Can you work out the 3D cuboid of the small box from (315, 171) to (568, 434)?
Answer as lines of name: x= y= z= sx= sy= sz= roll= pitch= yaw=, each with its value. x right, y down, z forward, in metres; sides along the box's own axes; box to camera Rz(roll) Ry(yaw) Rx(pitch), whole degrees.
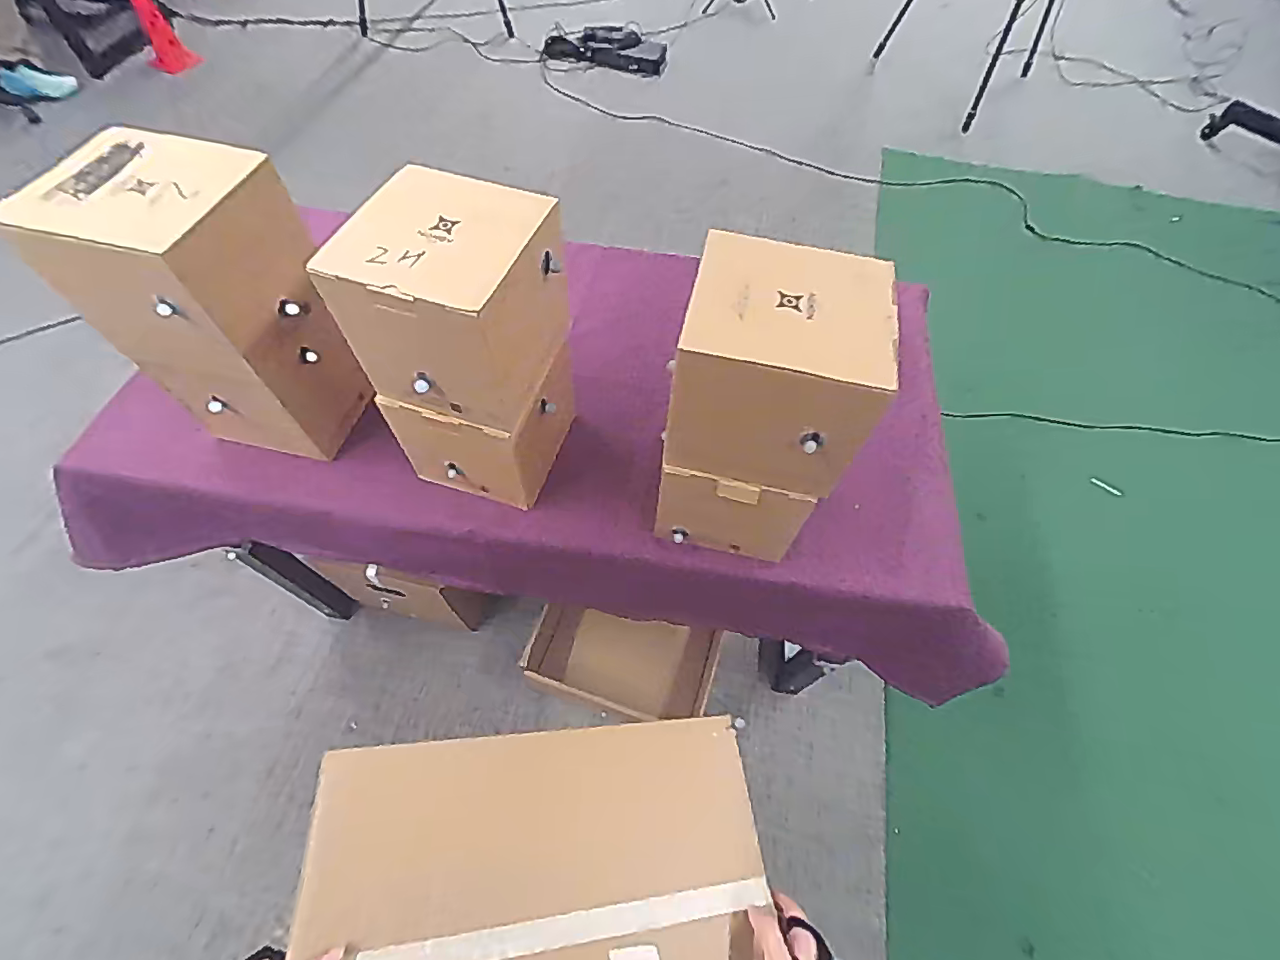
small box: x=-0.182 y=-0.180 z=0.565 sx=0.168 sy=0.176 sz=0.179 roll=17 pitch=61 yaw=8

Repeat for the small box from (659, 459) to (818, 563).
small box: x=0.120 y=-0.017 z=0.671 sx=0.168 sy=0.176 sz=0.179 roll=12 pitch=58 yaw=5

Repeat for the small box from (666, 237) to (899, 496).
small box: x=0.131 y=-0.102 z=0.532 sx=0.179 sy=0.176 sz=0.168 roll=13 pitch=58 yaw=6

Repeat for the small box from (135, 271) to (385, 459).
small box: x=-0.483 y=-0.147 z=0.722 sx=0.179 sy=0.176 sz=0.168 roll=12 pitch=60 yaw=5

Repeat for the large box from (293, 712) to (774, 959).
large box: x=-0.115 y=0.467 z=0.579 sx=0.408 sy=0.320 sz=0.320 roll=2 pitch=54 yaw=-17

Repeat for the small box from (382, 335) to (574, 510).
small box: x=-0.191 y=-0.090 z=0.703 sx=0.168 sy=0.176 sz=0.179 roll=16 pitch=61 yaw=7
